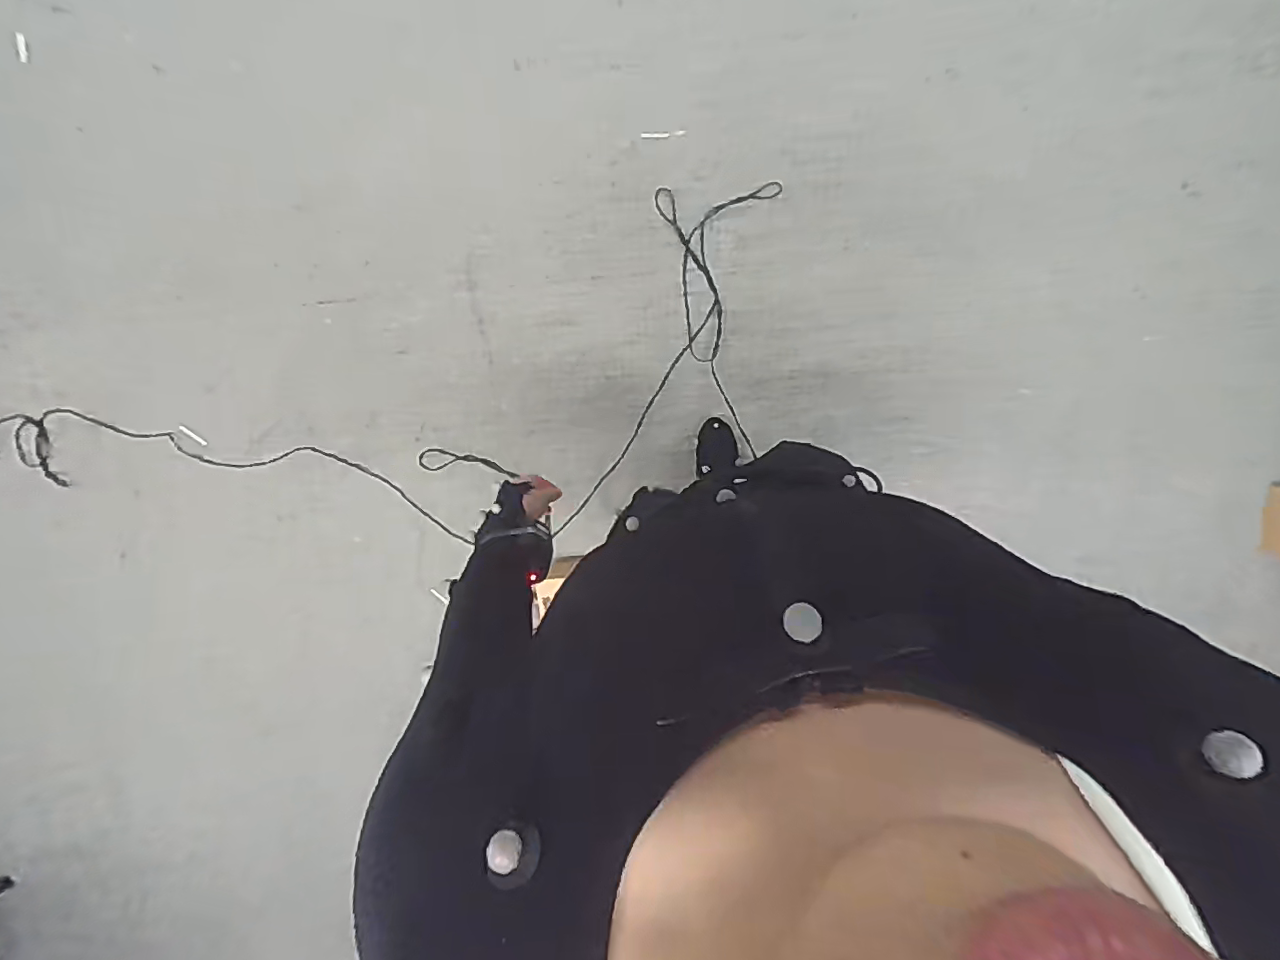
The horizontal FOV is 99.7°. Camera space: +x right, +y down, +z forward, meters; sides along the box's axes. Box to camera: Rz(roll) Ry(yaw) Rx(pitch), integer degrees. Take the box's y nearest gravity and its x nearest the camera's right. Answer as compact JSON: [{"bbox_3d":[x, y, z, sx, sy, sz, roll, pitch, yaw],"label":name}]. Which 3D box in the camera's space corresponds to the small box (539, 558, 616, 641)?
[{"bbox_3d":[-0.161,0.315,1.455,0.179,0.176,0.168,-6,97,3],"label":"small box"}]

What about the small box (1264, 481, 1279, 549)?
[{"bbox_3d":[1.697,0.098,1.318,0.168,0.176,0.179,-3,97,4],"label":"small box"}]
